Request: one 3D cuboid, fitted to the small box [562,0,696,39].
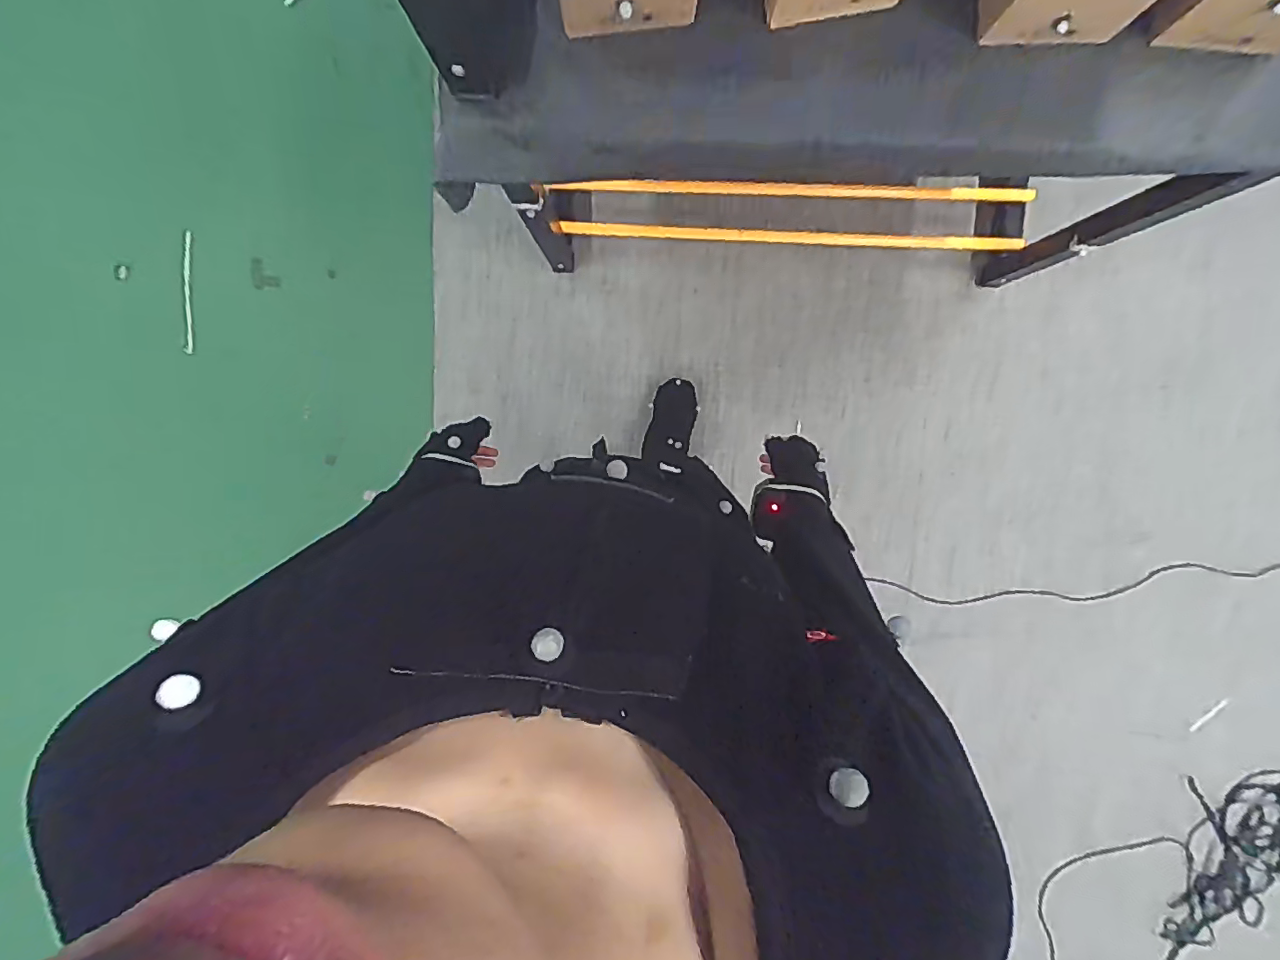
[{"bbox_3d":[-0.021,-0.647,0.601,0.168,0.176,0.179,-6,96,1],"label":"small box"}]
